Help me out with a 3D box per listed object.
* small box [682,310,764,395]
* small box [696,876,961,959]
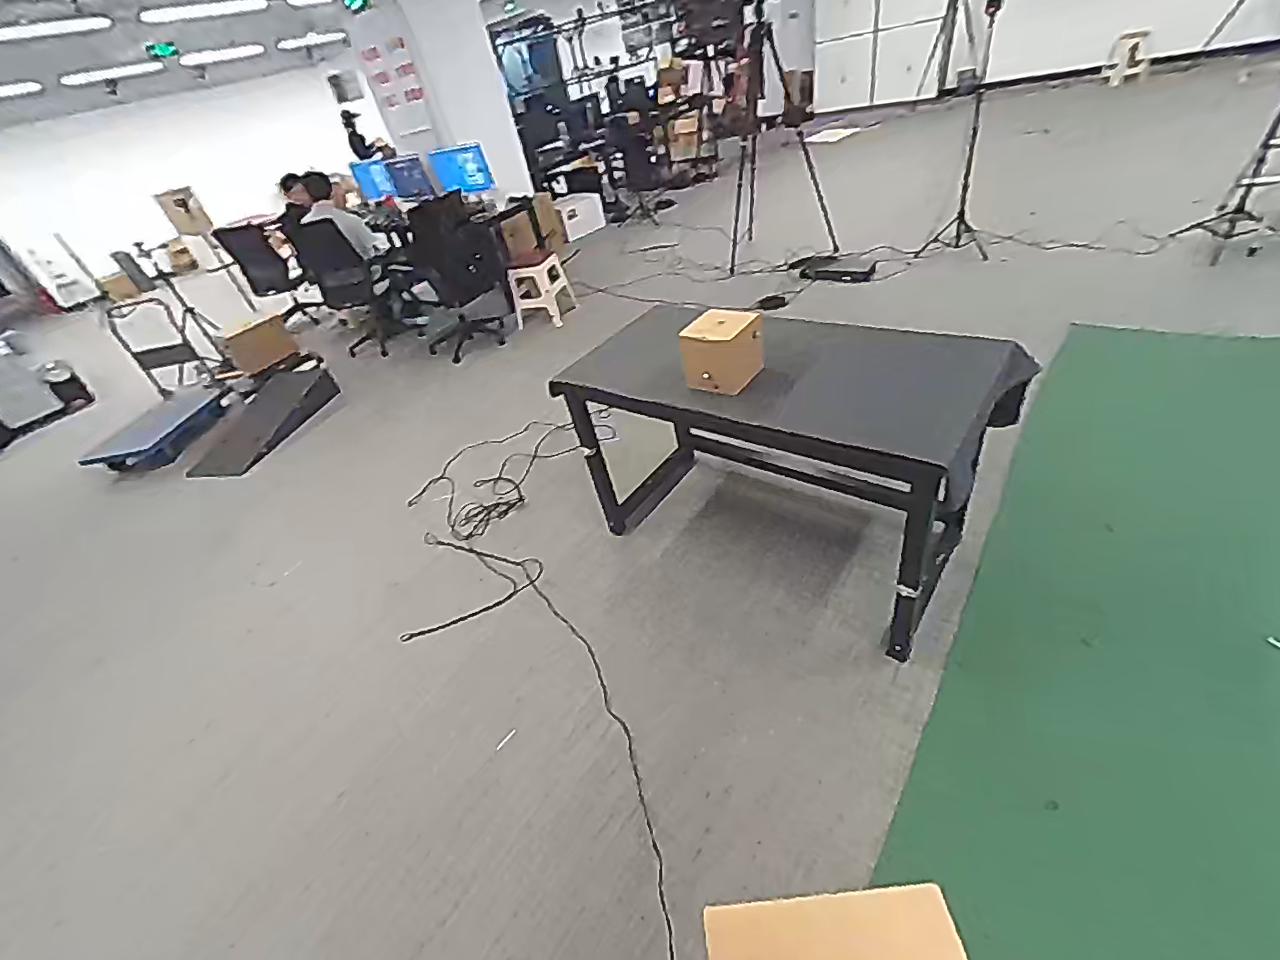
[{"bbox_3d":[0.241,-0.365,1.537,0.168,0.176,0.179,18,48,36],"label":"small box"},{"bbox_3d":[0.131,0.397,0.357,0.168,0.176,0.179,-8,40,2],"label":"small box"}]
